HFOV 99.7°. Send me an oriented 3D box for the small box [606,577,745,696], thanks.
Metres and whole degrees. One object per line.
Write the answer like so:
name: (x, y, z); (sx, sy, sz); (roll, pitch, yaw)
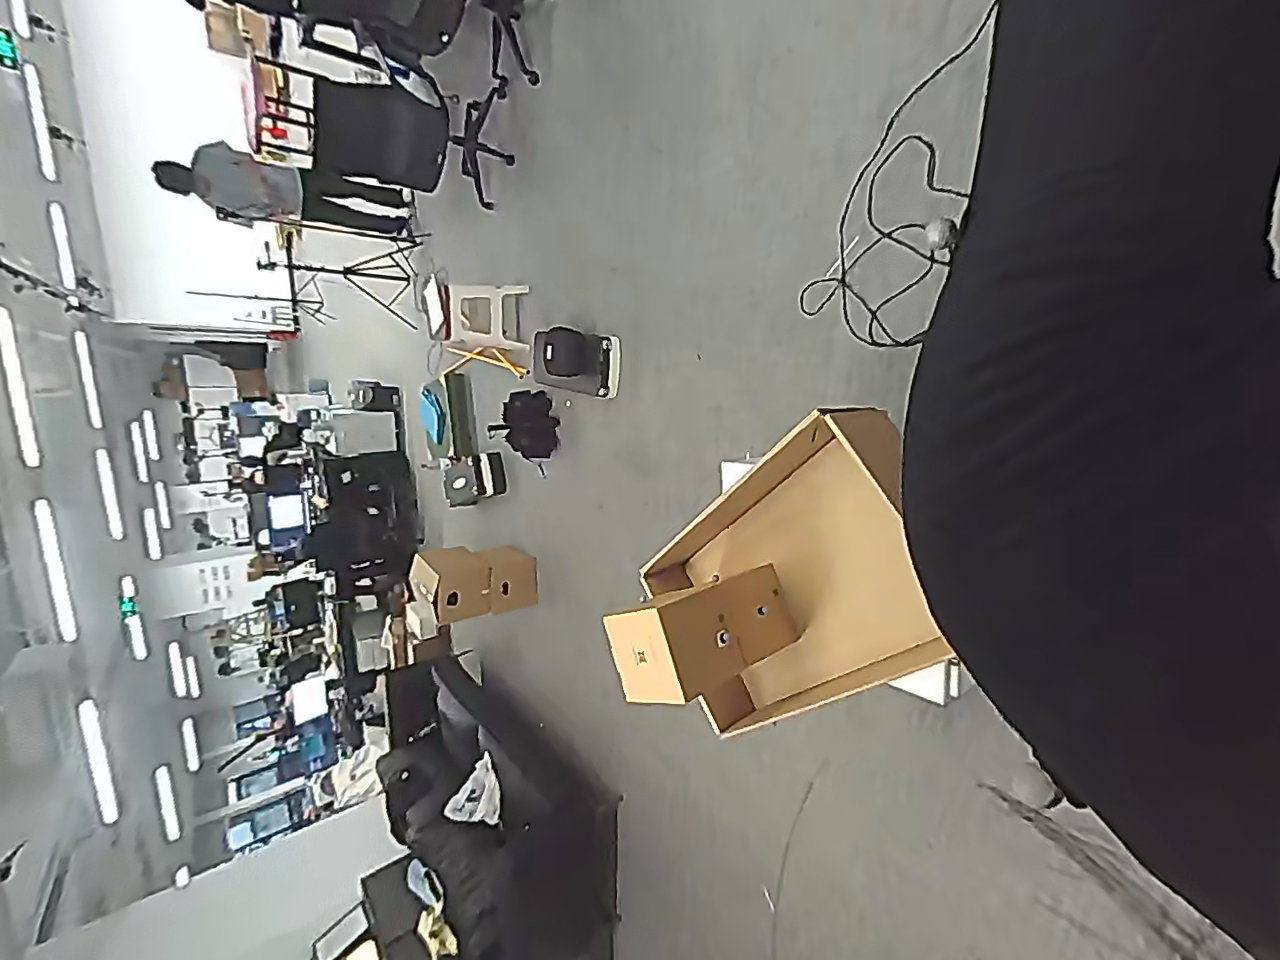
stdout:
small box: (0.067, 0.294, 1.025); (0.179, 0.176, 0.168); (-27, 79, 49)
